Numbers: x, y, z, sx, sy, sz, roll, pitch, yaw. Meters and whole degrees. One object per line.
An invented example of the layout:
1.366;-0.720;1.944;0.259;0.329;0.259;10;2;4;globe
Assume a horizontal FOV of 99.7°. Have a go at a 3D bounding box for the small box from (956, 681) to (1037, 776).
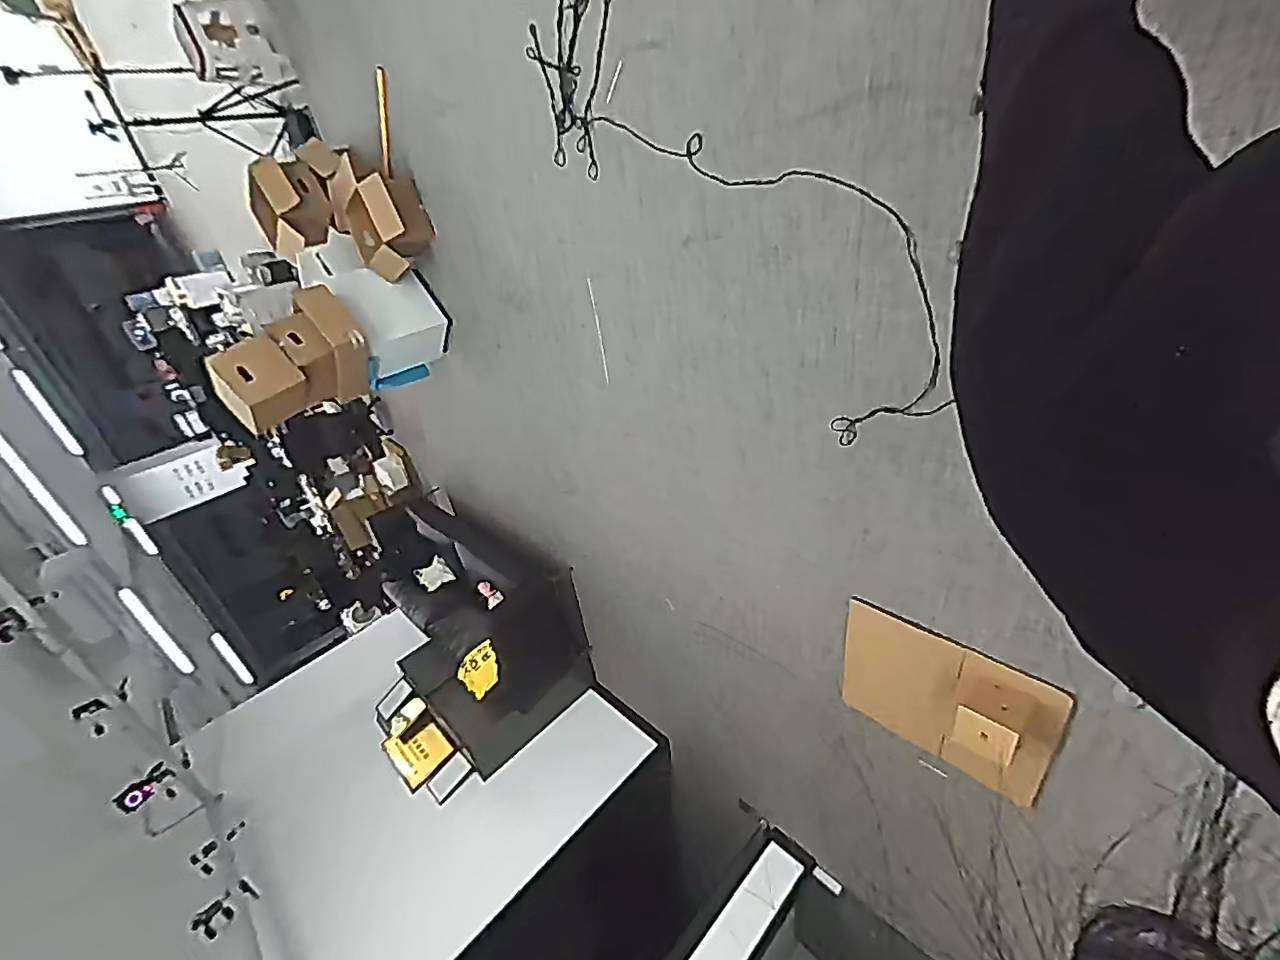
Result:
1.131;0.779;1.714;0.168;0.176;0.179;20;131;43;small box
